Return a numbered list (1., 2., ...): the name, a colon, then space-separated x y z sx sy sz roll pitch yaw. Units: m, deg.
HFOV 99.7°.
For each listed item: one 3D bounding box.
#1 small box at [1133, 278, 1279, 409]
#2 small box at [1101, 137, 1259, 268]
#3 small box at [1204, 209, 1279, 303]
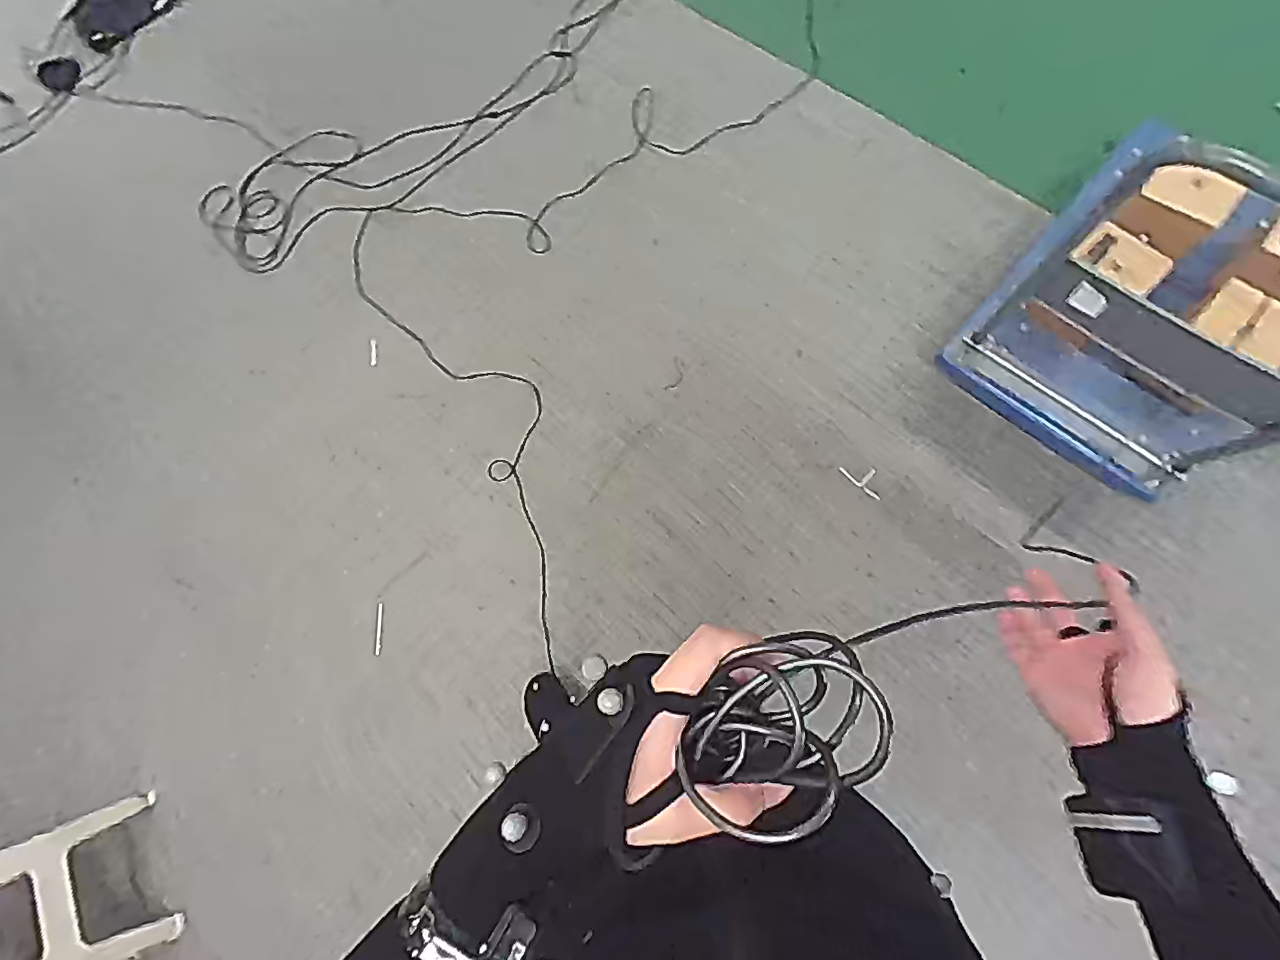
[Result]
1. small box: 1.238 -0.287 1.166 0.168 0.176 0.179 43 87 15
2. small box: 1.229 -0.632 1.251 0.168 0.176 0.179 38 85 14
3. small box: 1.421 -0.484 1.185 0.168 0.176 0.179 38 86 16
